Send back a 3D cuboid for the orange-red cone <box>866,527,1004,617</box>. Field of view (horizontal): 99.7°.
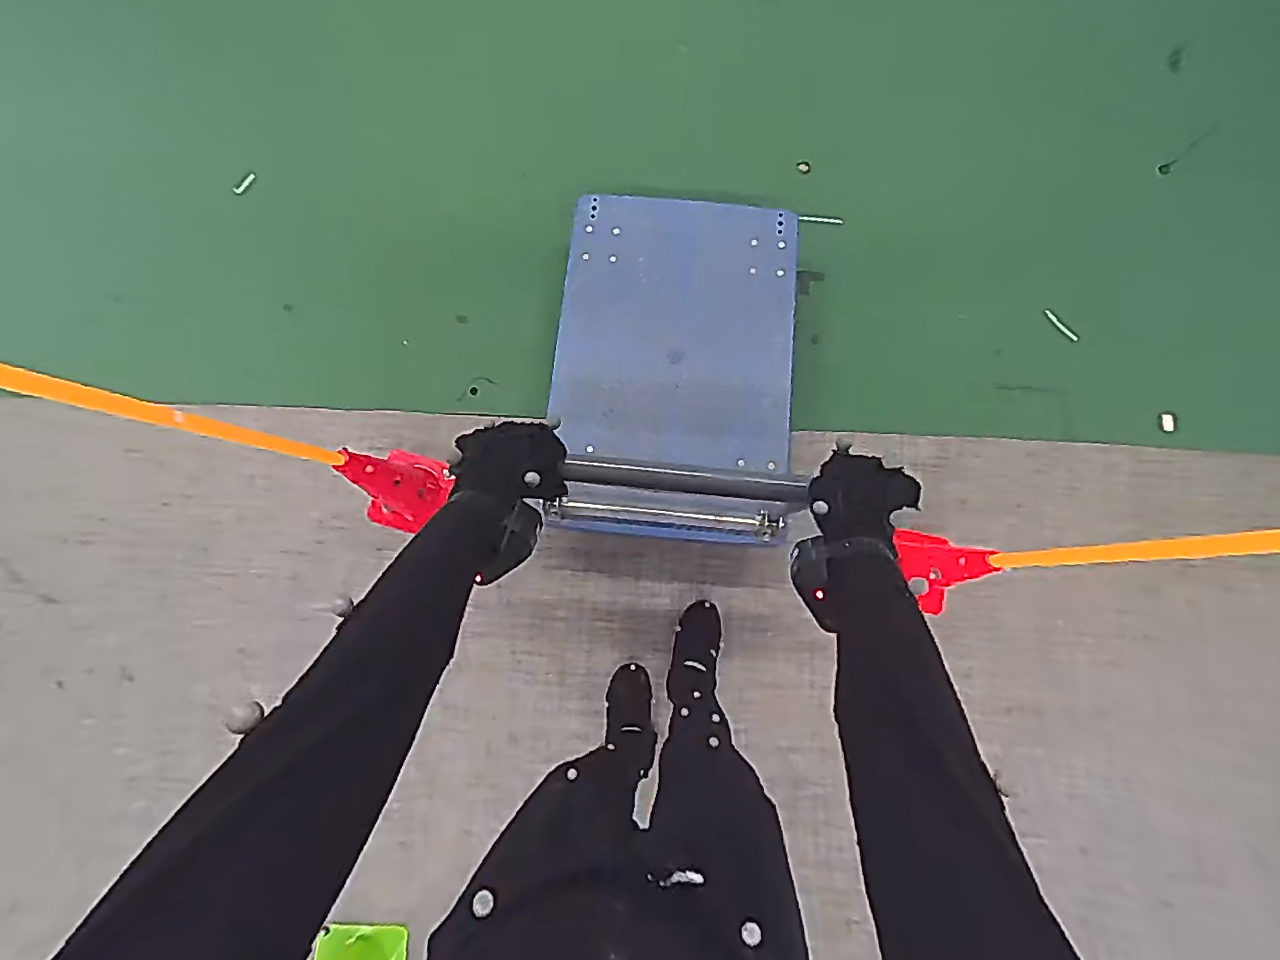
[{"bbox_3d":[0.682,0.196,1.203,0.198,0.360,0.199,13,79,3],"label":"orange-red cone"}]
